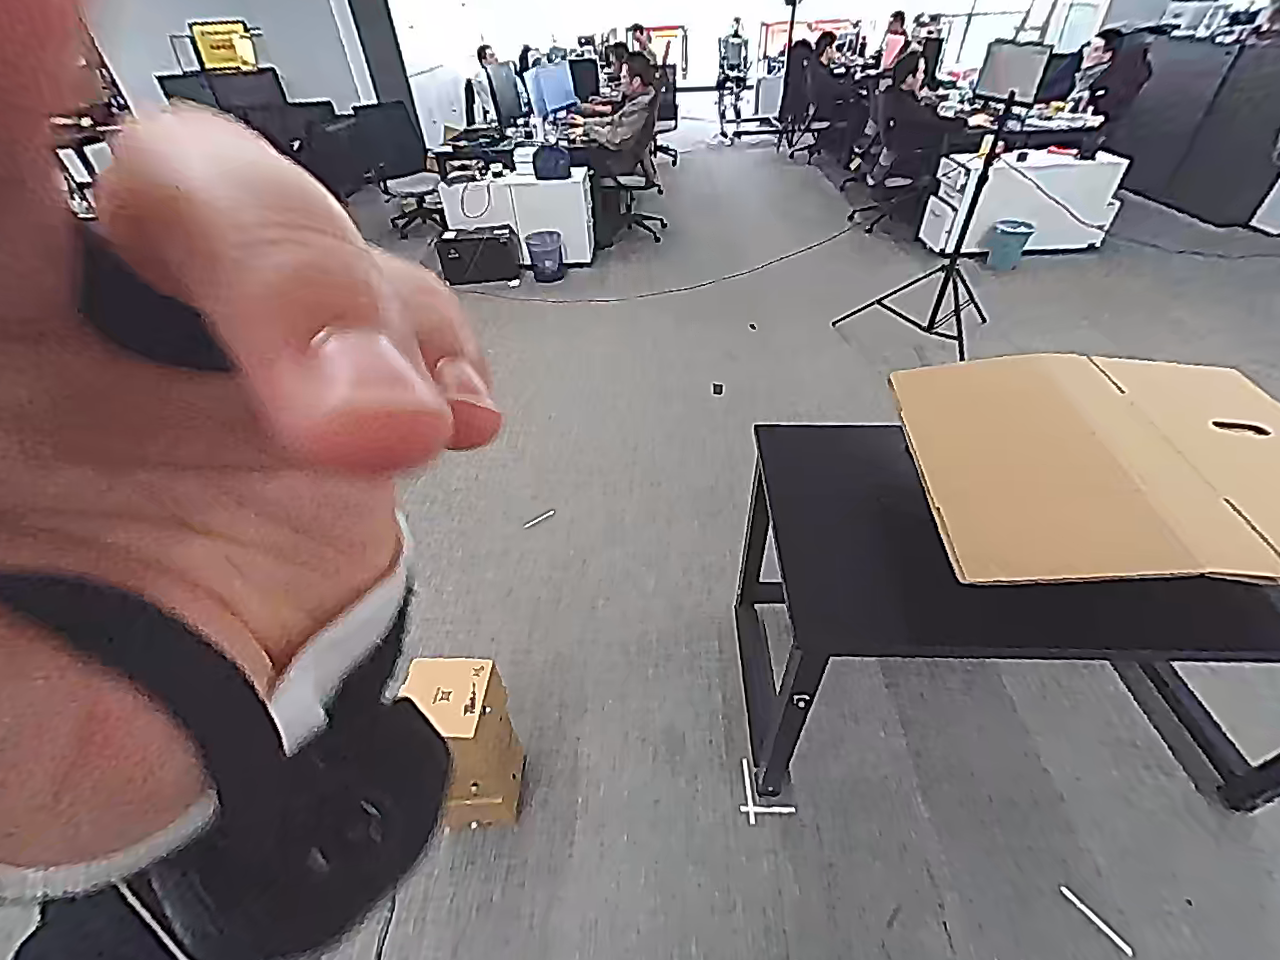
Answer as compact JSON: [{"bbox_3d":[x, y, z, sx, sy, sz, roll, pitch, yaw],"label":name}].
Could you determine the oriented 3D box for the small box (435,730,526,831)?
[{"bbox_3d":[-0.388,0.750,1.350,0.168,0.176,0.179,-3,42,0],"label":"small box"}]

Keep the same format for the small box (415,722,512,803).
[{"bbox_3d":[-0.397,0.624,1.249,0.168,0.176,0.179,-4,39,-3],"label":"small box"}]

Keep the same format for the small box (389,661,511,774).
[{"bbox_3d":[-0.389,0.501,1.139,0.179,0.176,0.168,0,41,3],"label":"small box"}]
